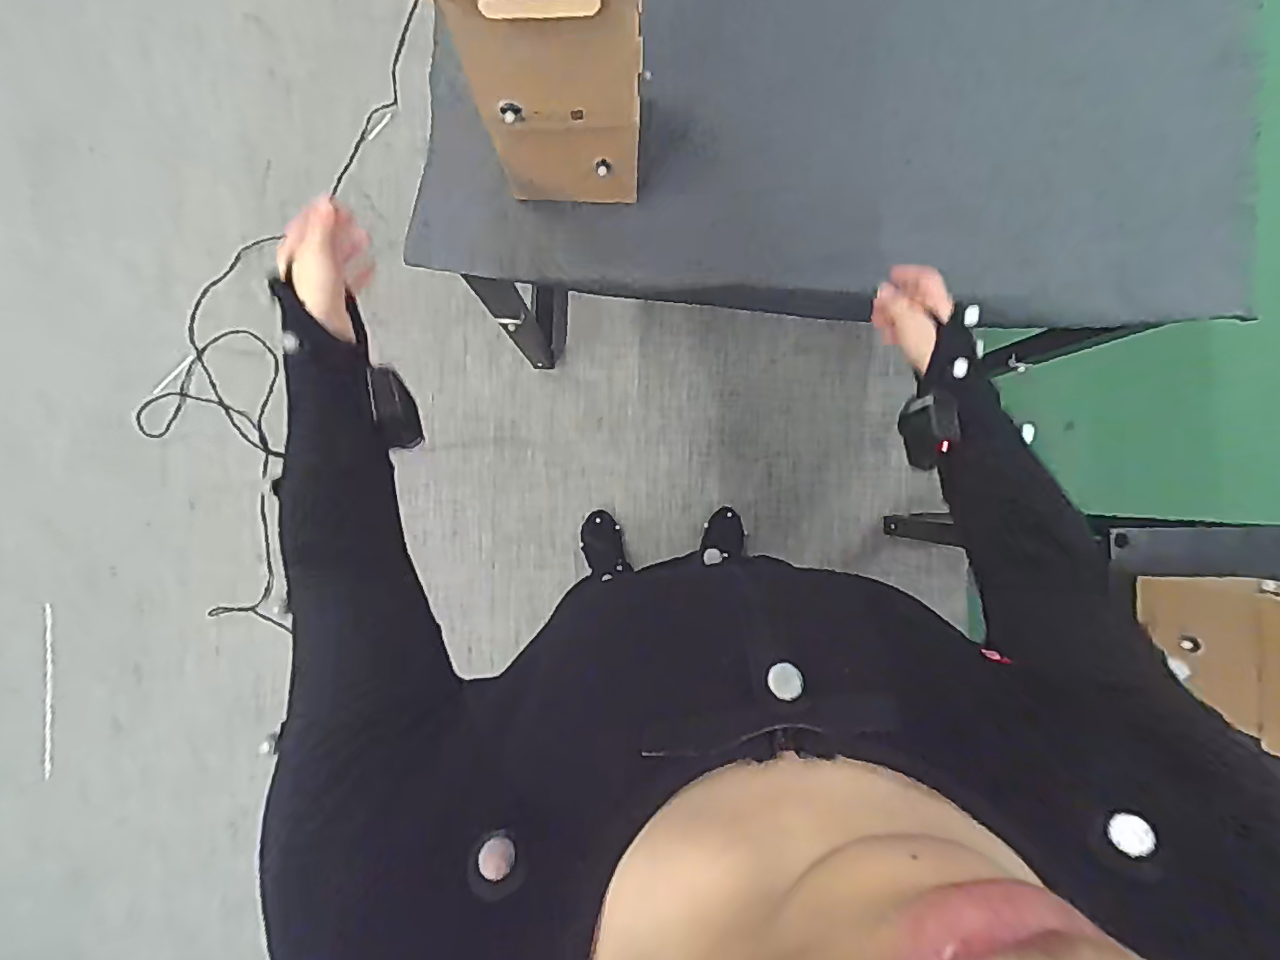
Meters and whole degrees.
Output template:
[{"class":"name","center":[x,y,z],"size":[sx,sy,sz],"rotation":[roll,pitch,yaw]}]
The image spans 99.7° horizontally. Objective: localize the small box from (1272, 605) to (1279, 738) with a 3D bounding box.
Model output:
[{"class":"small box","center":[0.792,0.225,0.529],"size":[0.168,0.176,0.179],"rotation":[1,89,0]}]

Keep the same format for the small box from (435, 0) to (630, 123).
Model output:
[{"class":"small box","center":[-0.096,-0.482,0.528],"size":[0.168,0.176,0.179],"rotation":[-4,86,-2]}]

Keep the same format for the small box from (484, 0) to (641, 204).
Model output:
[{"class":"small box","center":[-0.089,-0.478,0.693],"size":[0.179,0.176,0.168],"rotation":[0,87,0]}]

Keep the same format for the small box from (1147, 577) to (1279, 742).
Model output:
[{"class":"small box","center":[0.806,0.221,0.692],"size":[0.179,0.176,0.168],"rotation":[1,90,-1]}]
